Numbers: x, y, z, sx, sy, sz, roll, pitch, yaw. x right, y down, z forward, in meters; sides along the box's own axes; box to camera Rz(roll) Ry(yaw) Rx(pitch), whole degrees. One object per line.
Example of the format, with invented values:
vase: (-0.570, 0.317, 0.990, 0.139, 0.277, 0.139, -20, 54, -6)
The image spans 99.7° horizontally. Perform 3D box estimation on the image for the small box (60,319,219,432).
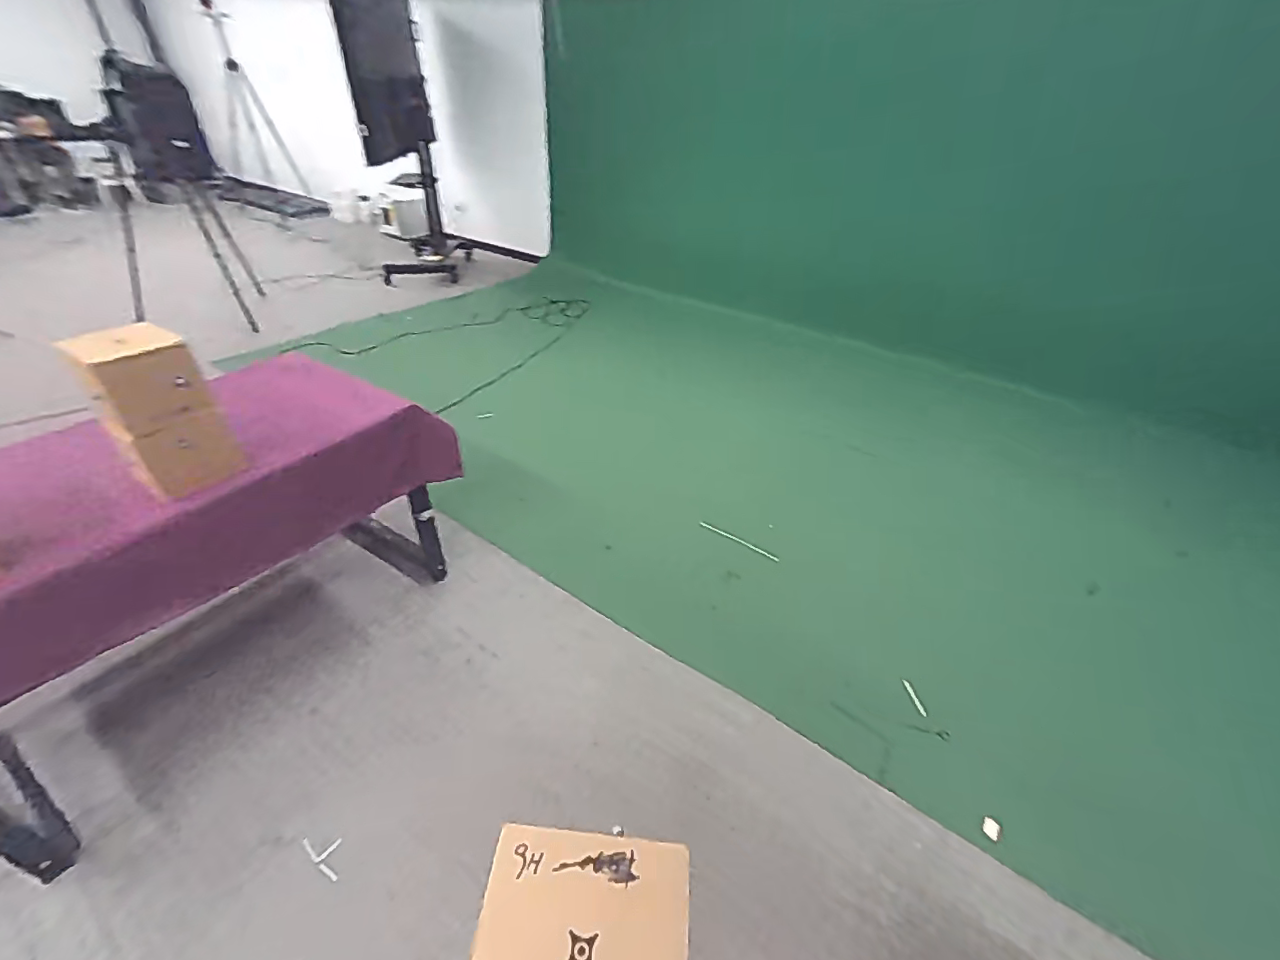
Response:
small box: (-1.050, -0.221, 1.149, 0.179, 0.176, 0.168, 22, 40, 24)

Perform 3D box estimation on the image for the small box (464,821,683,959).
small box: (-0.055, 0.423, 0.463, 0.168, 0.176, 0.179, 6, 43, 2)

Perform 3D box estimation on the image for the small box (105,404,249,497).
small box: (-1.053, -0.087, 1.243, 0.168, 0.176, 0.179, 25, 41, 25)
